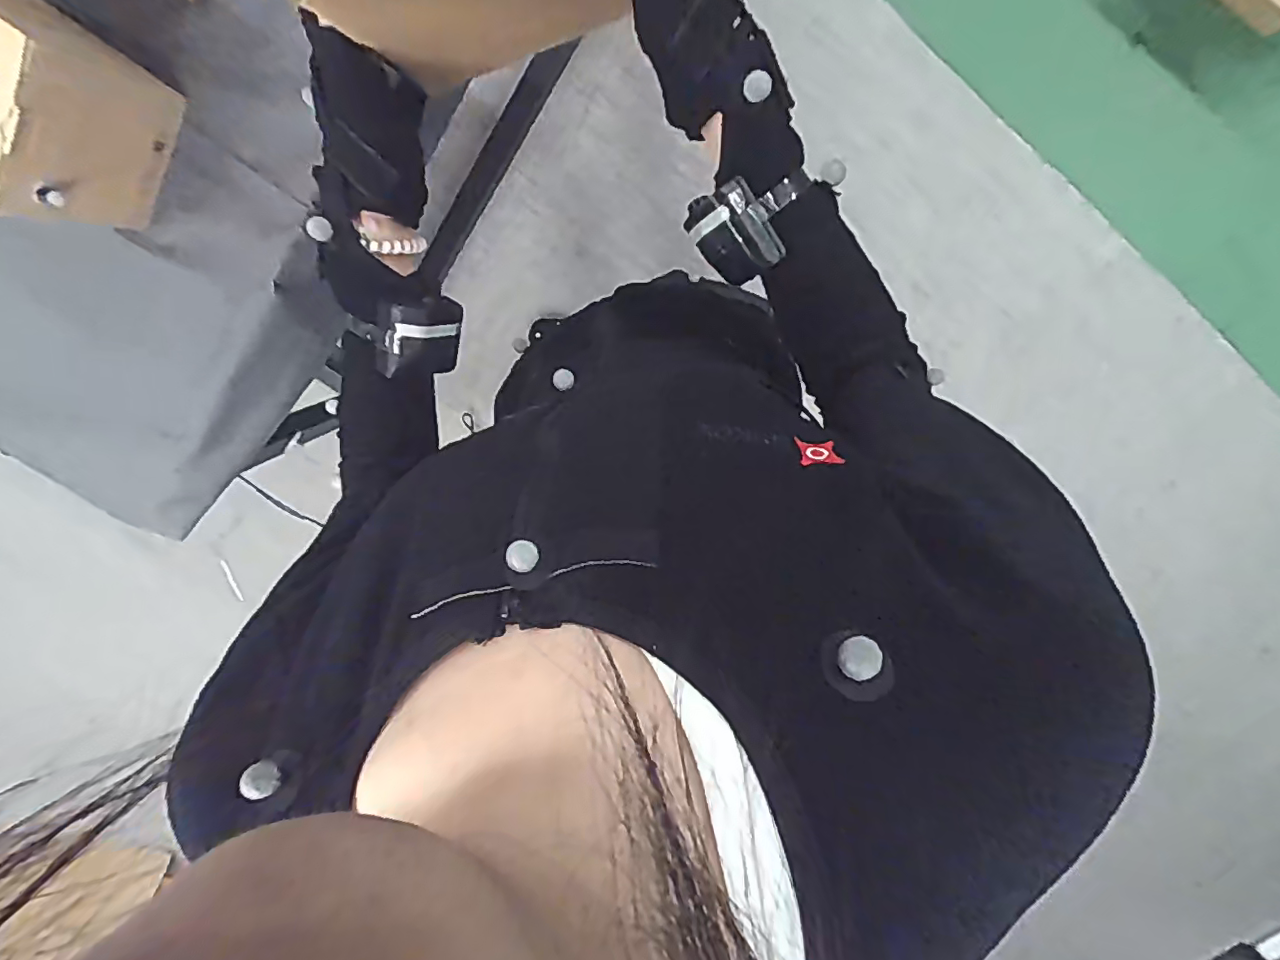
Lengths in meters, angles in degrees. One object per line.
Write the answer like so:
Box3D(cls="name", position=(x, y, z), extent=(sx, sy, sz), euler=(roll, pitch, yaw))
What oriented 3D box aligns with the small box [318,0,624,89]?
Box3D(cls="small box", position=(-0.111, -0.359, 0.301), extent=(0.179, 0.176, 0.168), euler=(-16, 110, 8))
